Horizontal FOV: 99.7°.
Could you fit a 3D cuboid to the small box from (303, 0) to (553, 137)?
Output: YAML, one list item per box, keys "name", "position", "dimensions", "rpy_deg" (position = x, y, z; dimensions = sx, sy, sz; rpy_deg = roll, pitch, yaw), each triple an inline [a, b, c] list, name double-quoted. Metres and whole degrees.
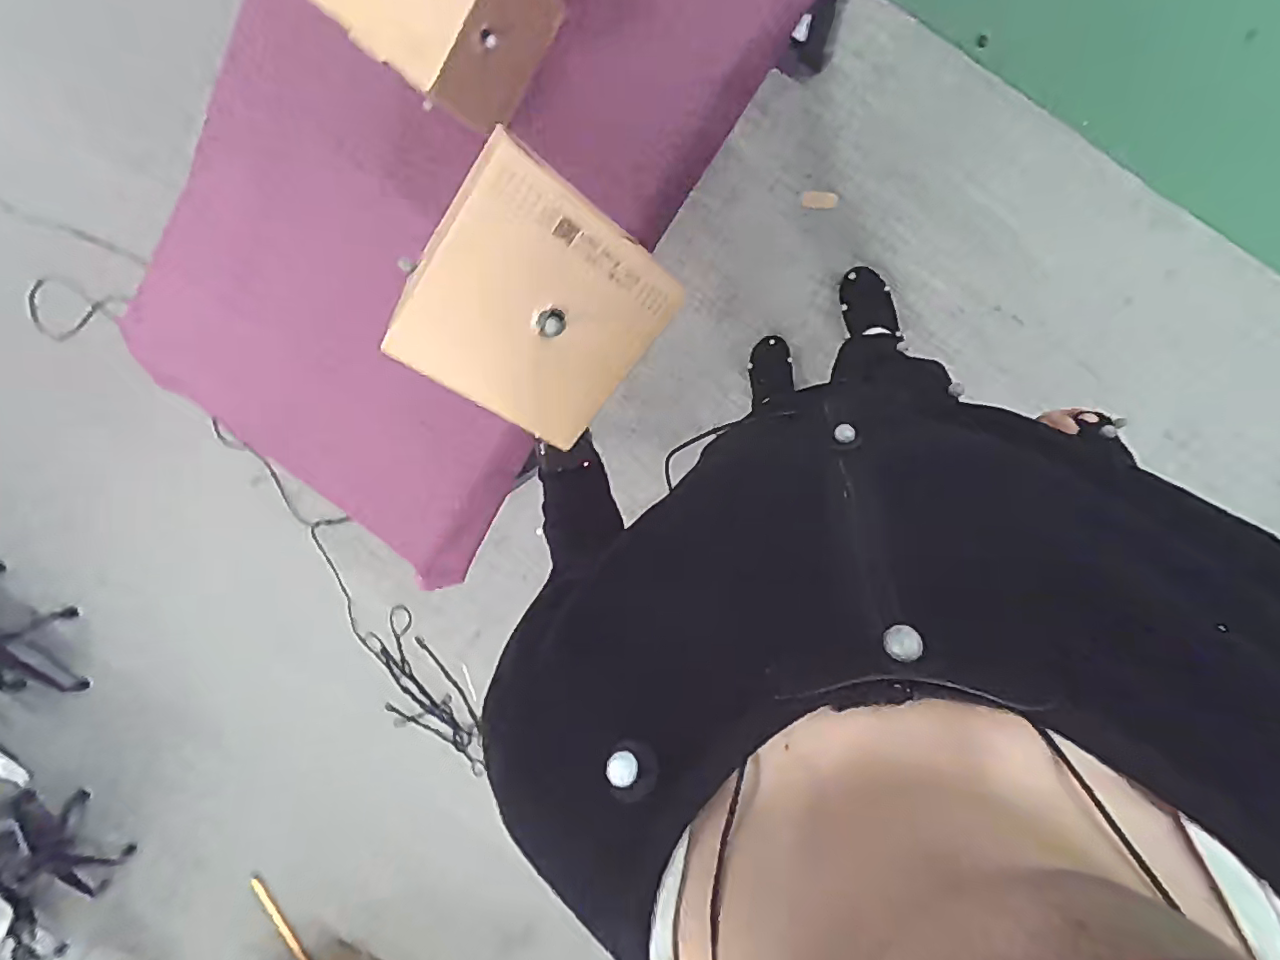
- name: "small box"
  position: [-0.222, -0.529, 0.601]
  dimensions: [0.168, 0.176, 0.179]
  rpy_deg: [39, 109, -2]
